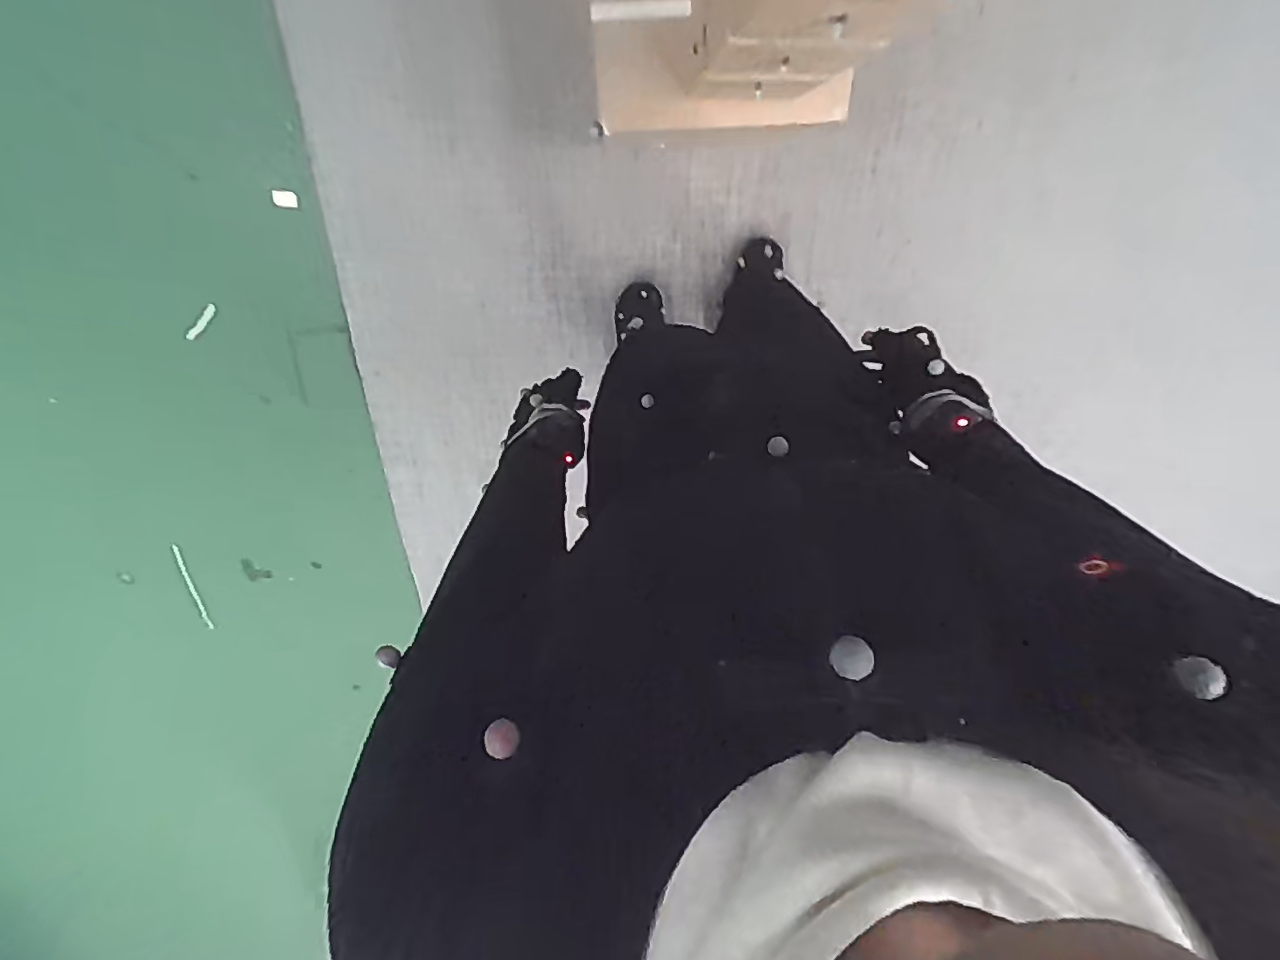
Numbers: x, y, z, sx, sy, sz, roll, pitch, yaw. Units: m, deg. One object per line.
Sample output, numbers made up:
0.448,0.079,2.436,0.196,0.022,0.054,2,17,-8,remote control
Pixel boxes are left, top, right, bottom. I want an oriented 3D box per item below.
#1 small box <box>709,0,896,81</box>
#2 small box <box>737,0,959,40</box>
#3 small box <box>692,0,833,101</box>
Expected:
0.178,-0.563,0.605,0.179,0.176,0.168,-3,118,0,small box
0.180,-0.496,0.455,0.168,0.176,0.179,0,119,-1,small box
0.168,-0.638,0.751,0.179,0.176,0.168,-2,118,-1,small box
